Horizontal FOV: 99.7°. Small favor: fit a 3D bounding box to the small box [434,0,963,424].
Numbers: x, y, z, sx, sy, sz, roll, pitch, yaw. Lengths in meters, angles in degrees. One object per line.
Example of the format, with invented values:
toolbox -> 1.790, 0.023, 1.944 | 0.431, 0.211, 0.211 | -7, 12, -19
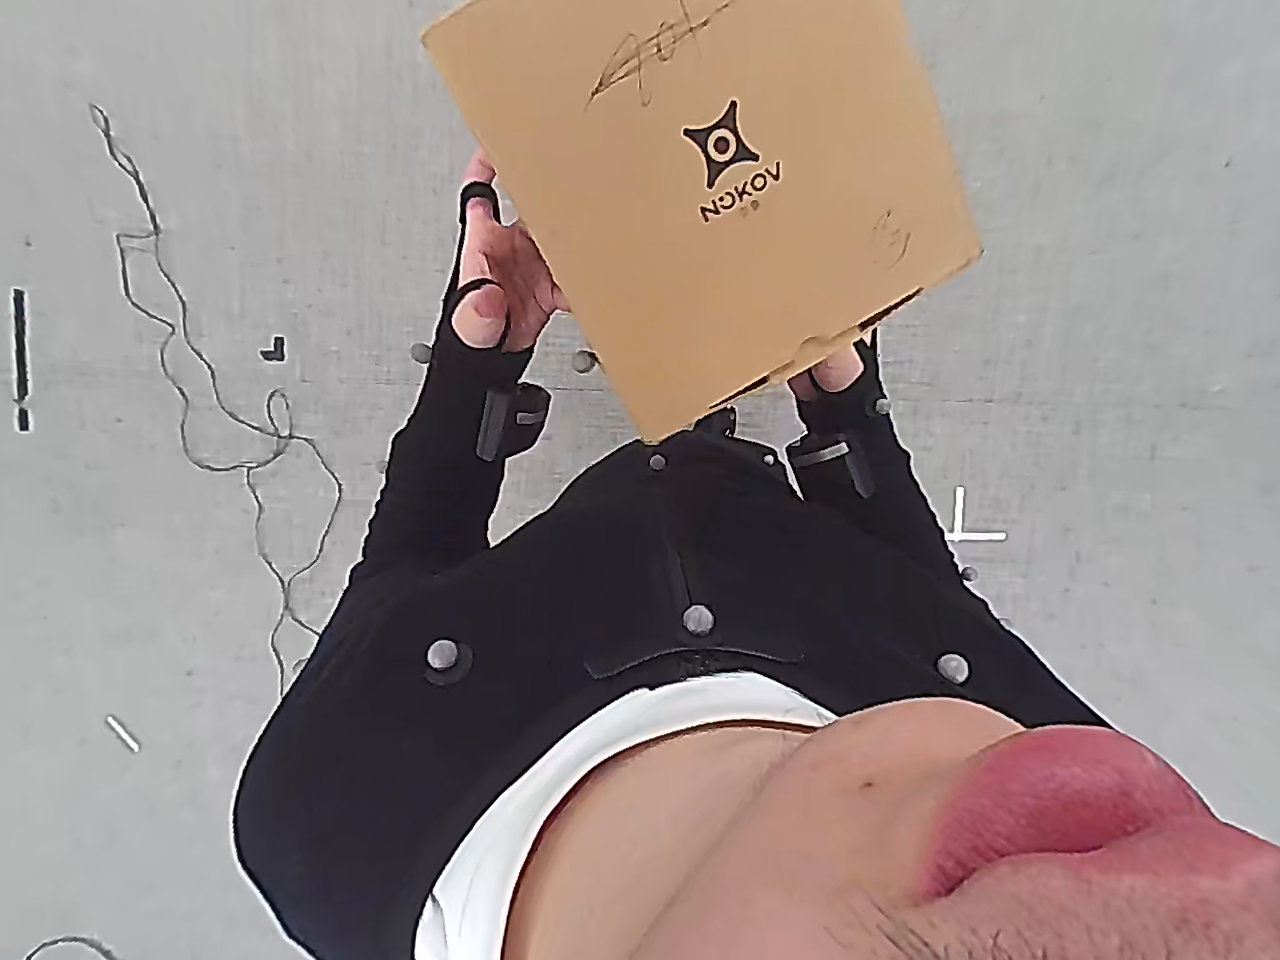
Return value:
small box -> 0.026, -0.156, 0.299 | 0.168, 0.176, 0.179 | -31, 105, 3
